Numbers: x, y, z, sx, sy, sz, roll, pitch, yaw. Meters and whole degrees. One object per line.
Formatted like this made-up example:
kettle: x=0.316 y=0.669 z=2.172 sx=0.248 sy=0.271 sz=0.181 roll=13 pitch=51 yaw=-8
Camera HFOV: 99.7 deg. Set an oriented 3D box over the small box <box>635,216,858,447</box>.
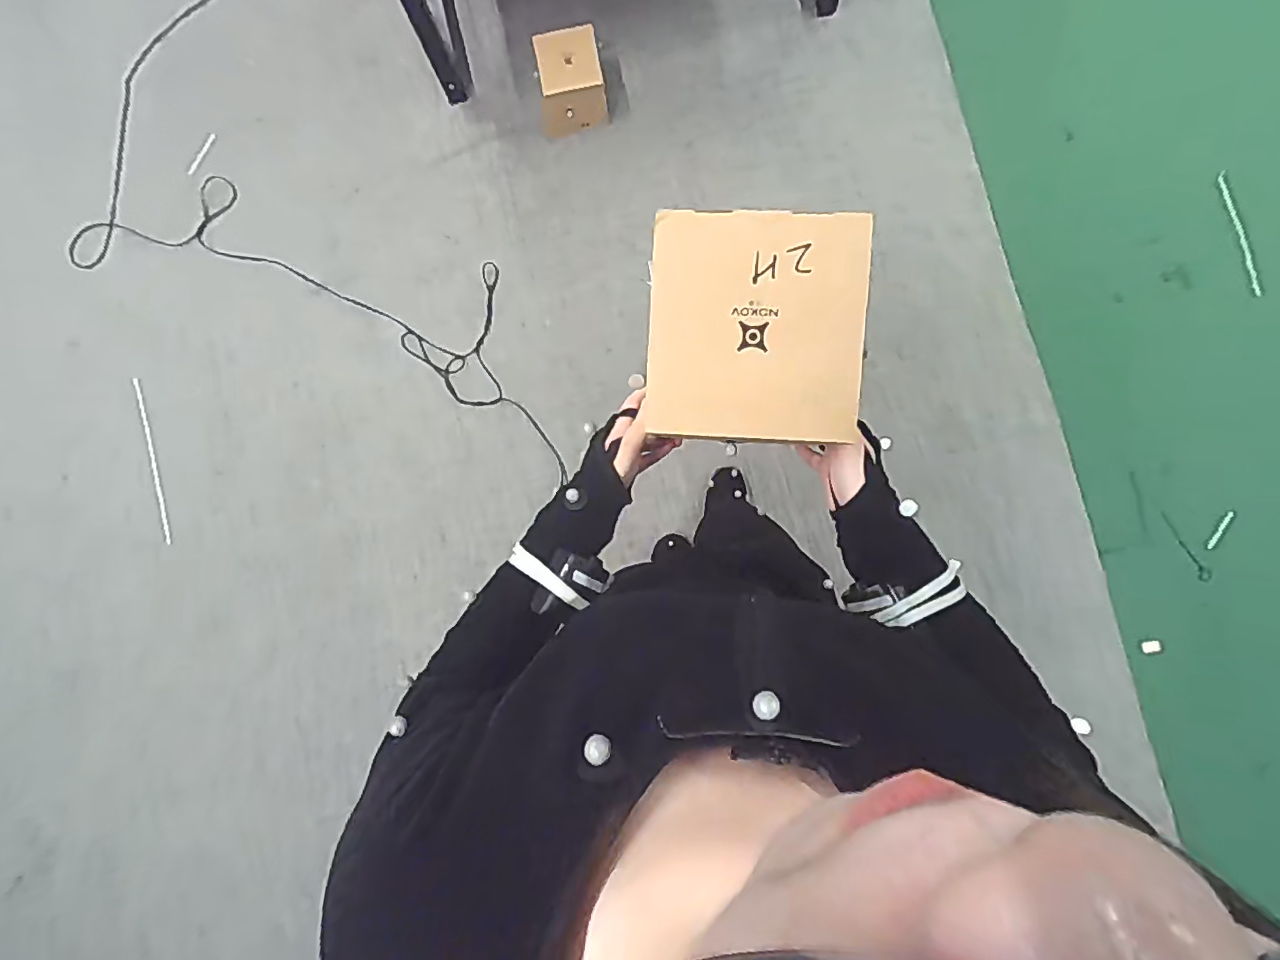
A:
small box: x=0.090 y=-0.125 z=0.510 sx=0.168 sy=0.176 sz=0.179 roll=4 pitch=94 yaw=4
